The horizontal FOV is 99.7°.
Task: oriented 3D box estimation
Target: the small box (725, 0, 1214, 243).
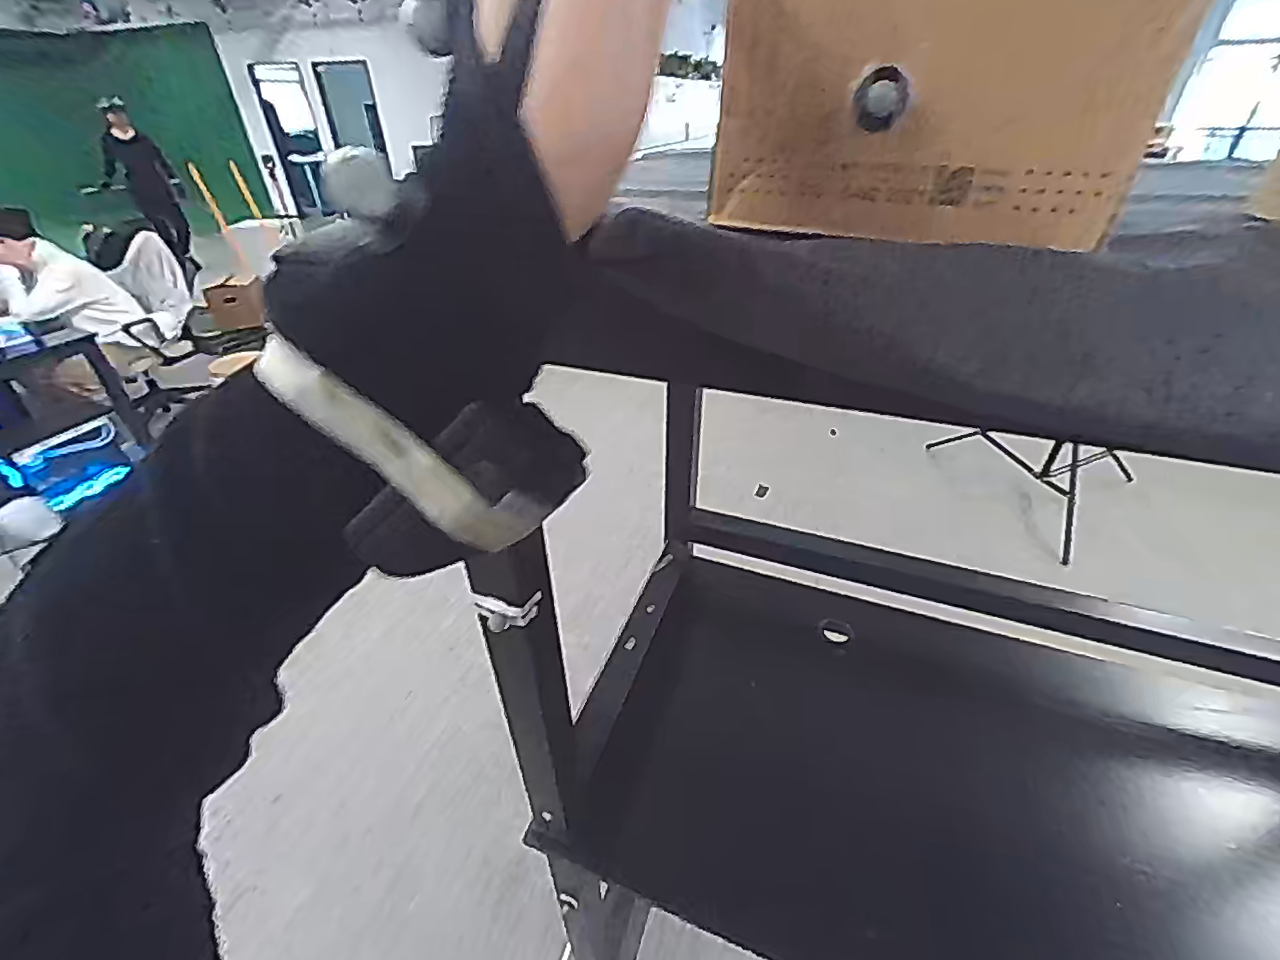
[{"bbox_3d":[0.144,-0.224,0.261,0.168,0.176,0.179,13,35,17],"label":"small box"}]
